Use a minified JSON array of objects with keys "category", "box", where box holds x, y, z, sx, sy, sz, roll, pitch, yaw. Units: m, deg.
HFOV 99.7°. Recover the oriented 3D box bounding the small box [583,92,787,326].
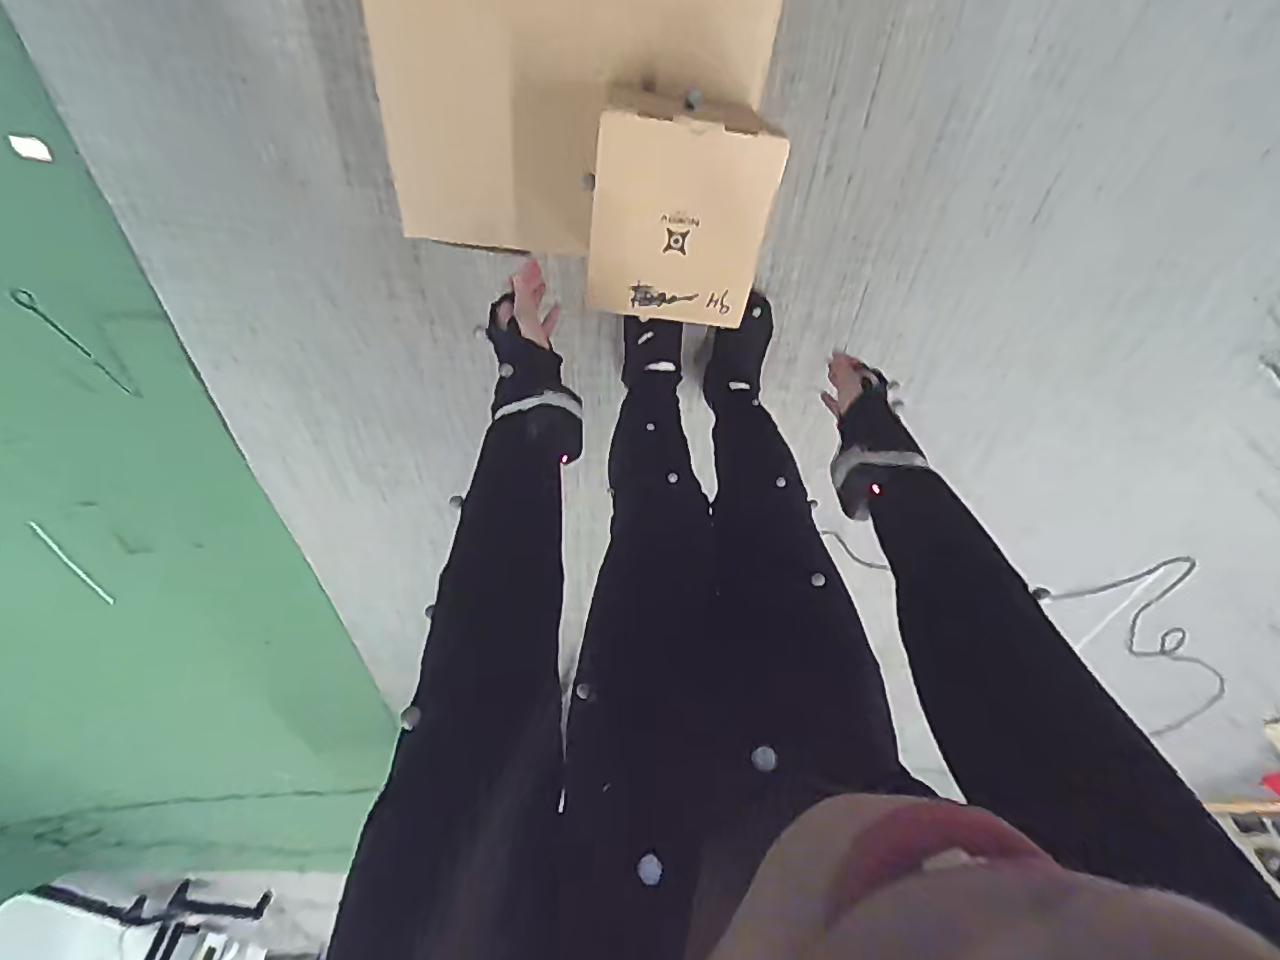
[{"category":"small box","box":[0.031,-0.286,0.566,0.168,0.176,0.179,6,129,-7]}]
